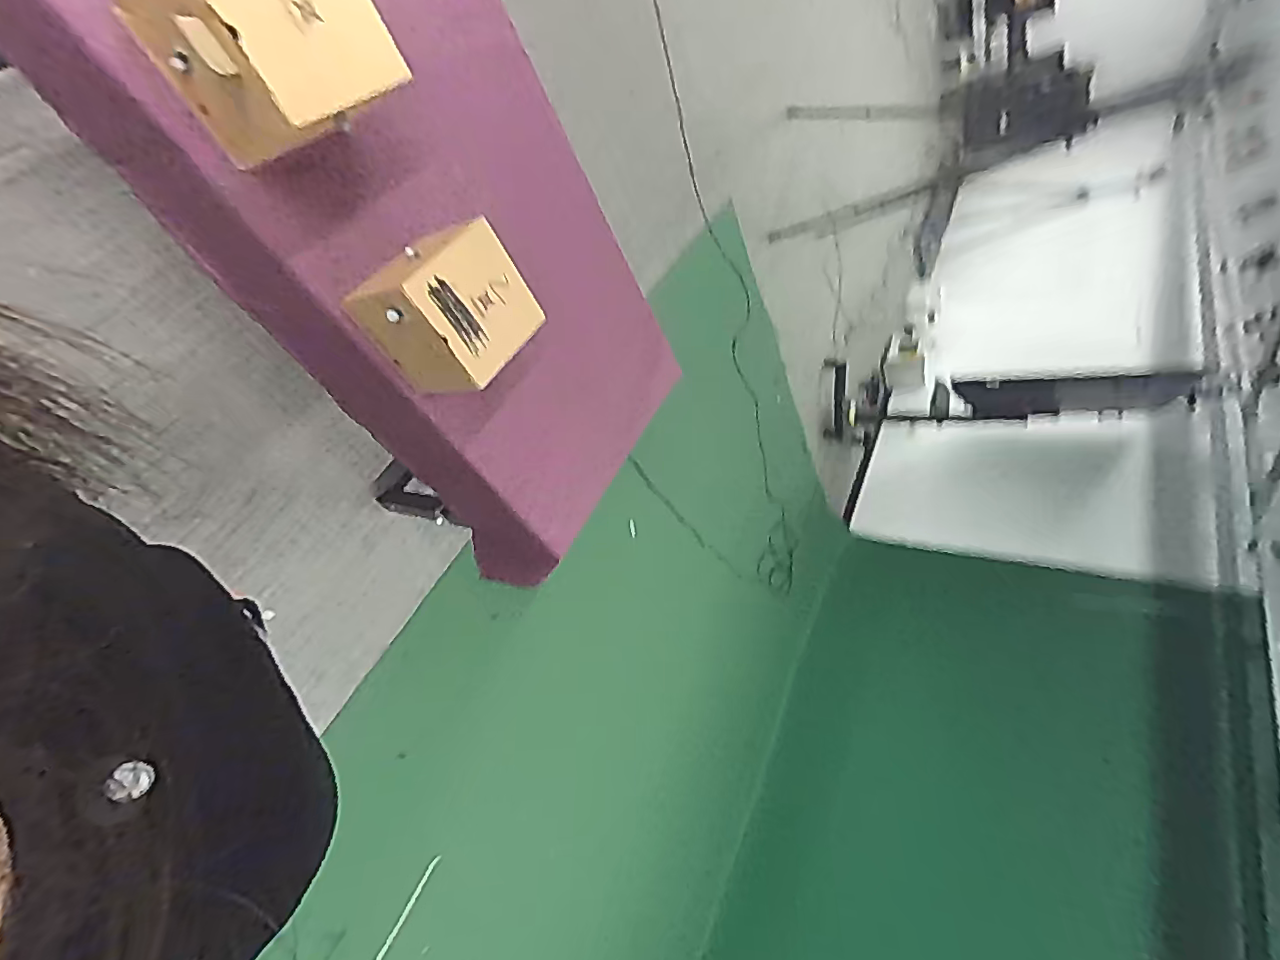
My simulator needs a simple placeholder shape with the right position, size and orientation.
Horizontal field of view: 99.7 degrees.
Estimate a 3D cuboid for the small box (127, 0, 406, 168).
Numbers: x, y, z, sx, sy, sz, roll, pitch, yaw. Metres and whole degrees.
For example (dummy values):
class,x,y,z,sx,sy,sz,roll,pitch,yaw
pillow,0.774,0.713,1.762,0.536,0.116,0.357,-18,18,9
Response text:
class,x,y,z,sx,sy,sz,roll,pitch,yaw
small box,-0.416,-0.487,0.611,0.179,0.176,0.168,-55,134,-31
